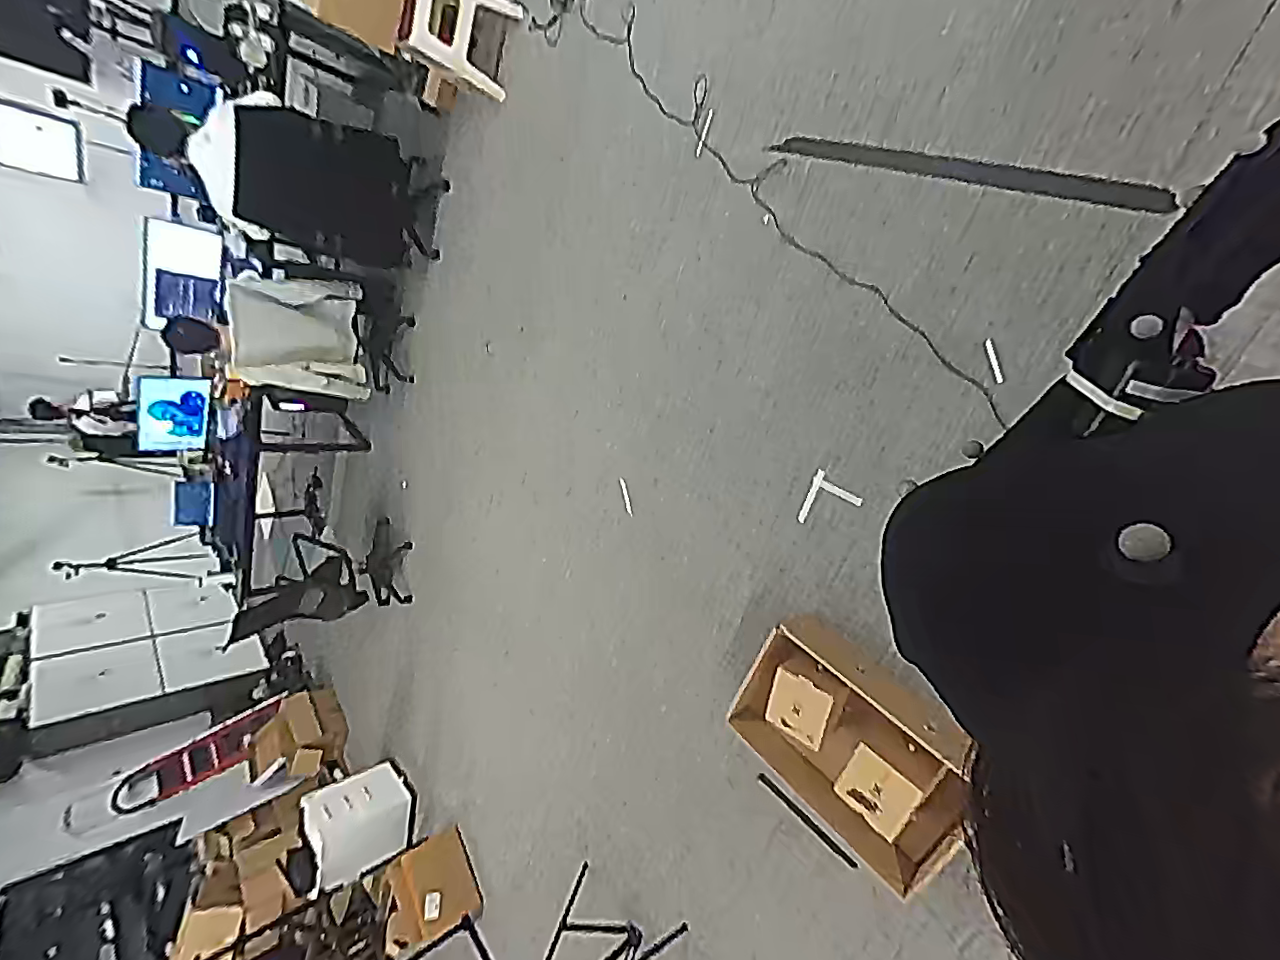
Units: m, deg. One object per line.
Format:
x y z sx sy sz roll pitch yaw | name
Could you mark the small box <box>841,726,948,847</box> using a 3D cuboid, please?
0.653 0.773 1.380 0.168 0.176 0.179 34 115 38 | small box
